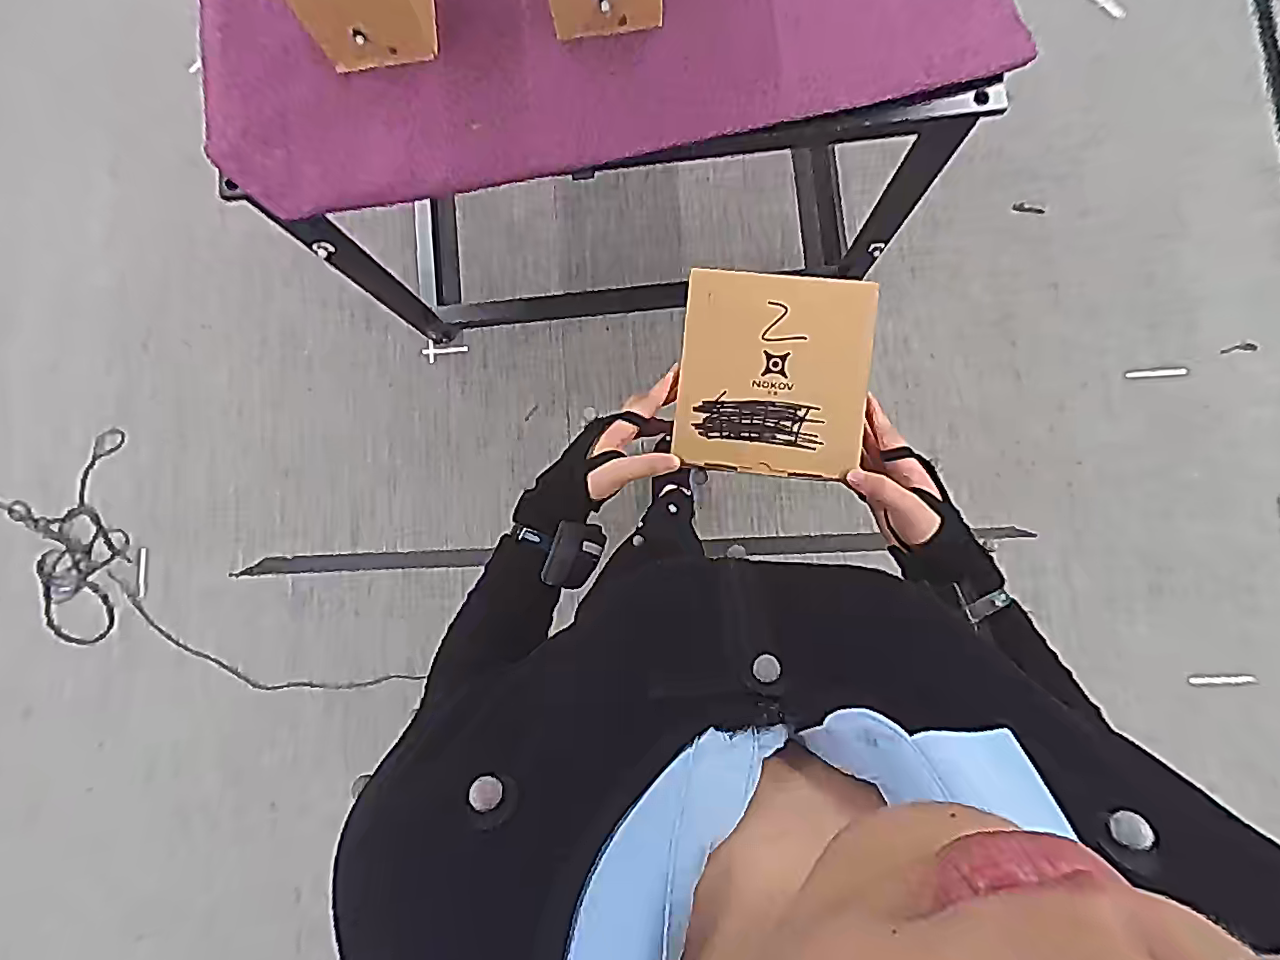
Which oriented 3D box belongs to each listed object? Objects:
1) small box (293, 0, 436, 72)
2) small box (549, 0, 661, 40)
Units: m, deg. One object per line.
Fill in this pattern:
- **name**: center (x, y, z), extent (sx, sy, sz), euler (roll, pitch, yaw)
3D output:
- **small box**: center (-0.411, -0.744, 0.780), extent (0.168, 0.176, 0.179), euler (-6, 86, 2)
- **small box**: center (-0.059, -0.779, 0.761), extent (0.168, 0.176, 0.179), euler (-5, 85, 4)
